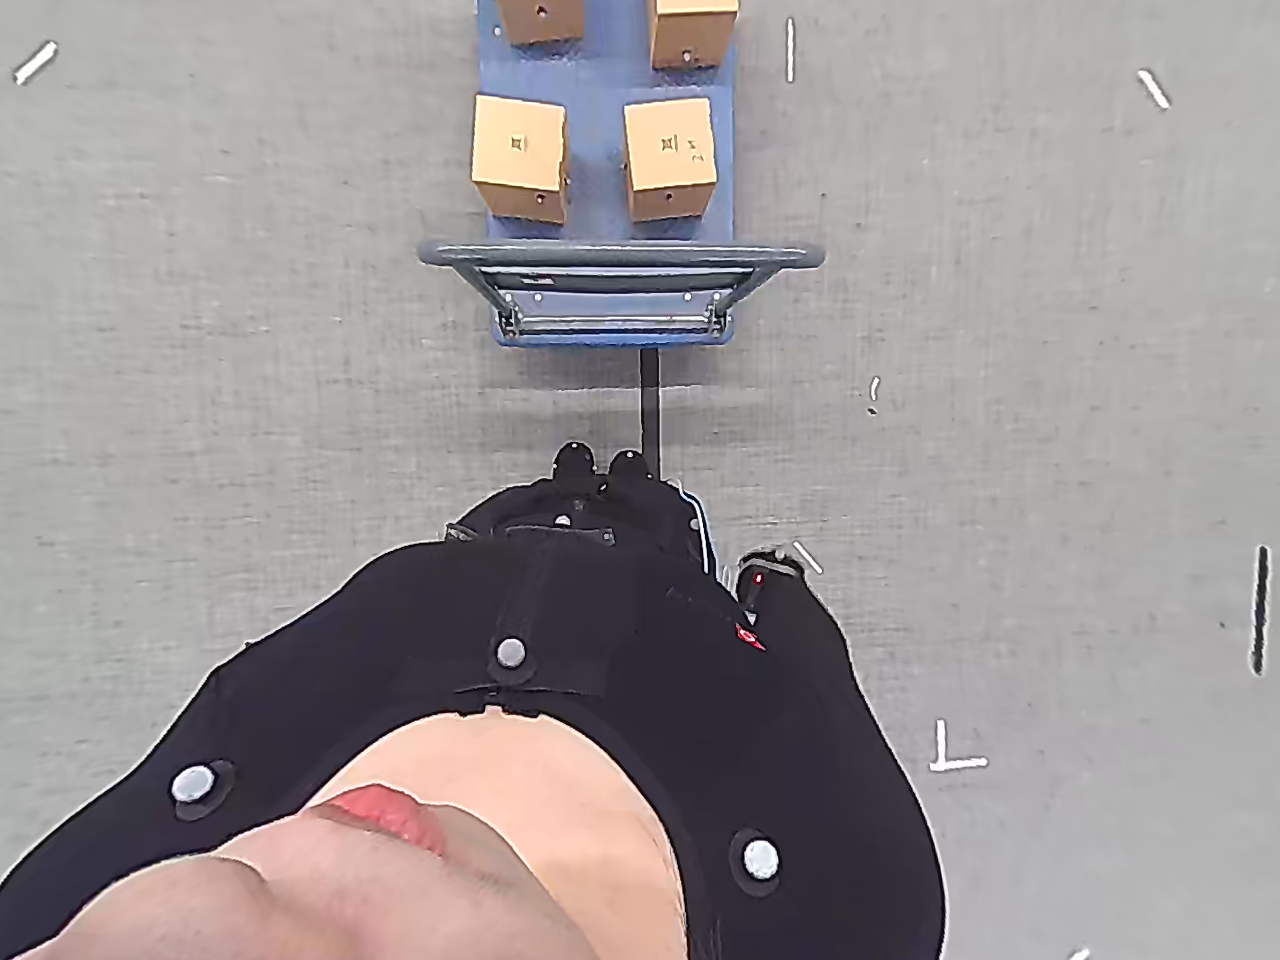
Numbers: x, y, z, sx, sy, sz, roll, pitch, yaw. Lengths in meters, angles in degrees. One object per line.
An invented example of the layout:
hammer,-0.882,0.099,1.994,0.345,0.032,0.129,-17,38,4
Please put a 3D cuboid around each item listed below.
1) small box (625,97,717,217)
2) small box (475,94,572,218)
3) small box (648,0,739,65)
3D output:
small box,0.061,-0.690,1.174,0.179,0.176,0.168,-7,96,-2
small box,-0.243,-0.682,1.158,0.179,0.176,0.168,5,95,-5
small box,0.107,-1.025,1.143,0.168,0.176,0.179,-4,97,-2
